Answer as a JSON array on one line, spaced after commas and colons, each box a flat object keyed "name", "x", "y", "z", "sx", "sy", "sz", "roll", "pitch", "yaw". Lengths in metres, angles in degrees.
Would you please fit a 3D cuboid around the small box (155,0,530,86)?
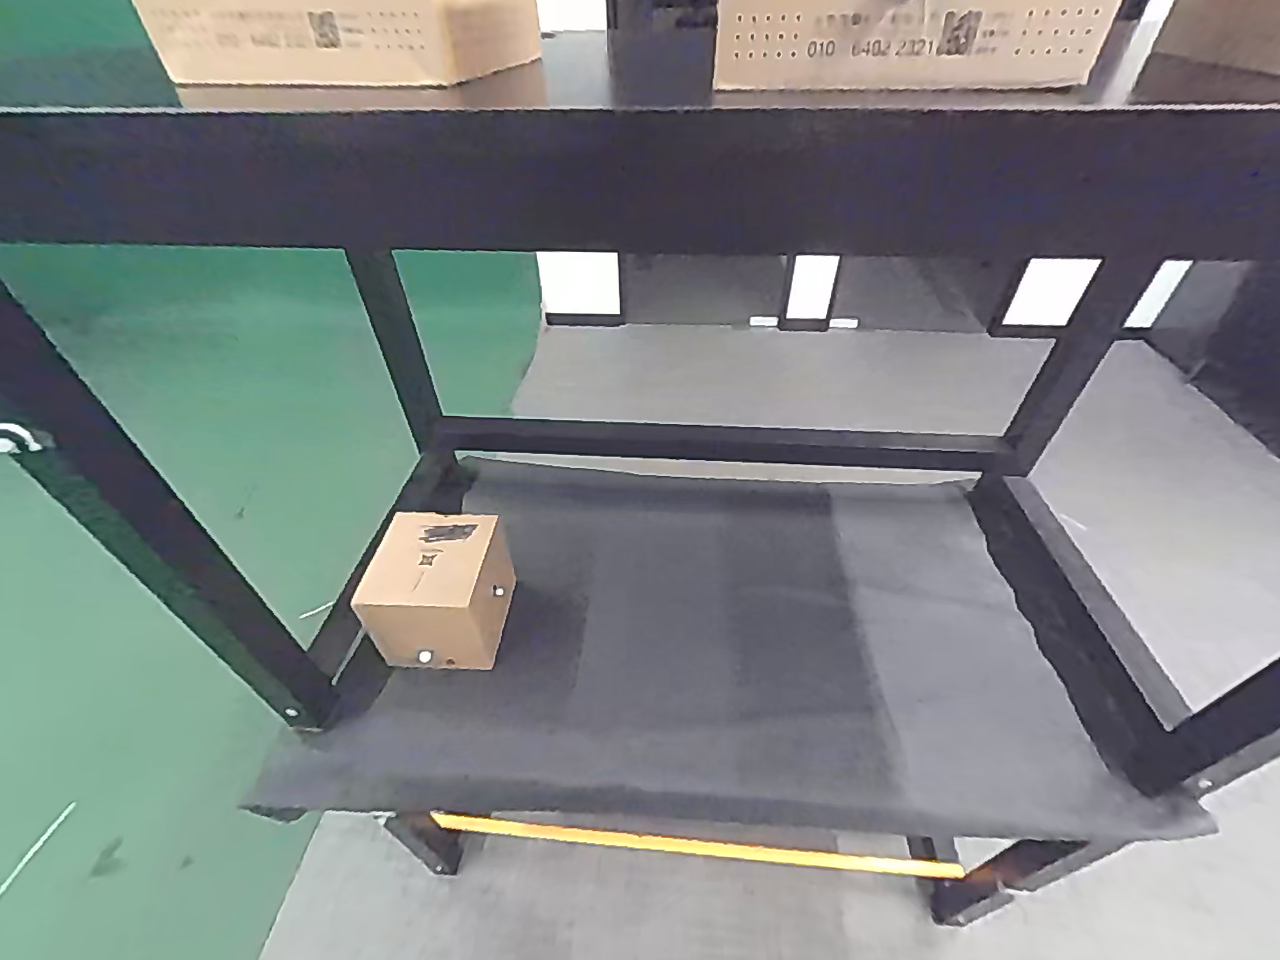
[{"name": "small box", "x": -0.172, "y": -0.334, "z": 0.307, "sx": 0.168, "sy": 0.176, "sz": 0.179, "roll": 5, "pitch": 42, "yaw": 7}]

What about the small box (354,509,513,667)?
[{"name": "small box", "x": -0.303, "y": 0.166, "z": 0.842, "sx": 0.168, "sy": 0.176, "sz": 0.179, "roll": 1, "pitch": 42, "yaw": 3}]

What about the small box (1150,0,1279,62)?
[{"name": "small box", "x": 0.396, "y": -0.291, "z": 0.238, "sx": 0.168, "sy": 0.176, "sz": 0.179, "roll": 9, "pitch": 42, "yaw": 11}]
